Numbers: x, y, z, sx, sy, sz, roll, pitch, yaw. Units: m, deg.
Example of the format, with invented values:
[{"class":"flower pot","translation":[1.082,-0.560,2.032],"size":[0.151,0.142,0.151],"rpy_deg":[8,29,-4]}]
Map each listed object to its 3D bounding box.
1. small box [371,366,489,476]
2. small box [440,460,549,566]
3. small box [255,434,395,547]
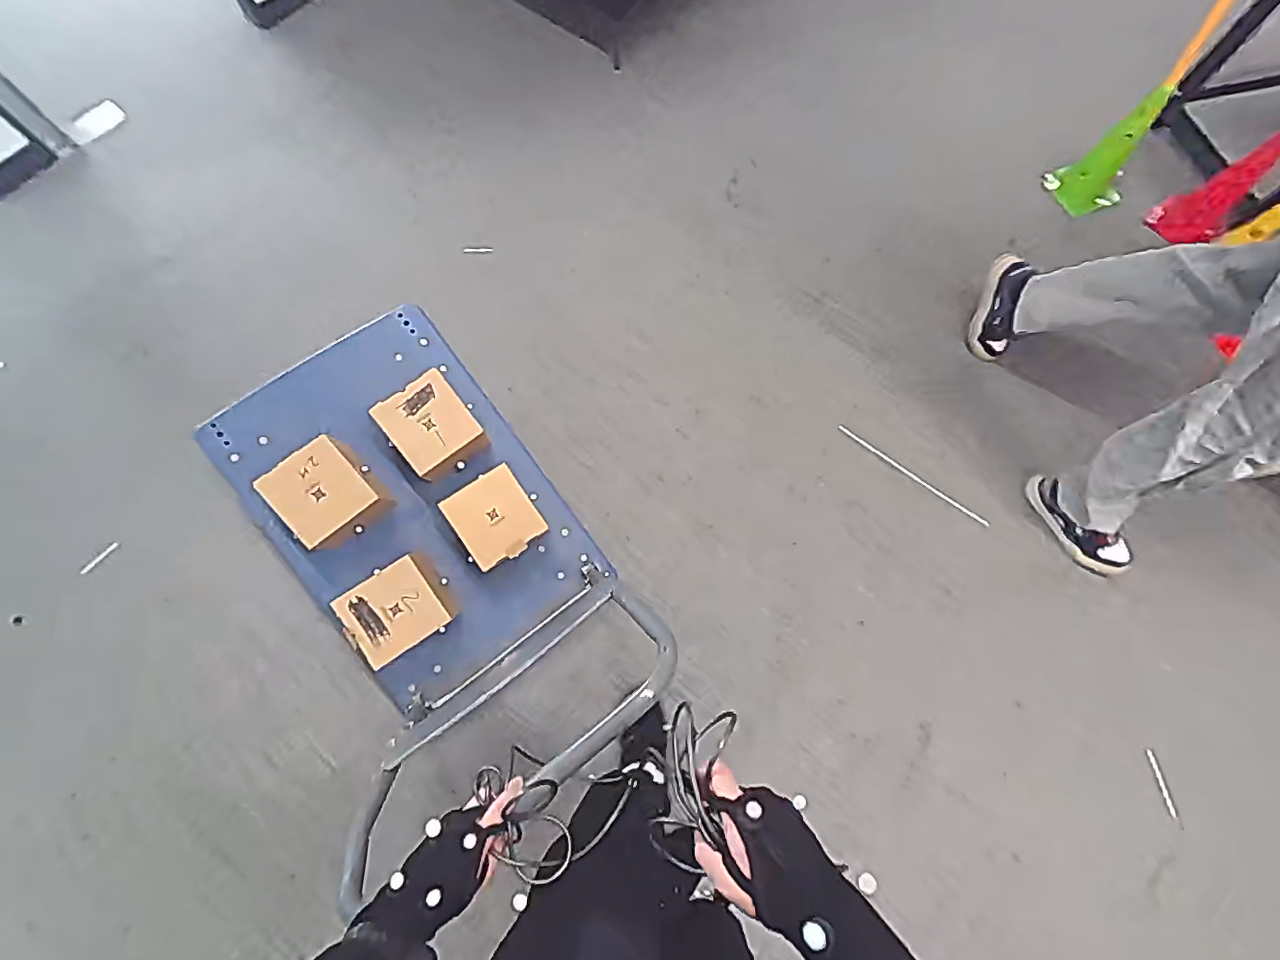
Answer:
[{"class":"small box","translation":[-0.462,-0.124,1.220],"size":[0.168,0.176,0.179],"rpy_deg":[-38,93,-10]},{"class":"small box","translation":[-0.323,0.078,1.227],"size":[0.168,0.176,0.179],"rpy_deg":[-34,92,-11]},{"class":"small box","translation":[-0.665,0.025,1.171],"size":[0.168,0.176,0.179],"rpy_deg":[-40,92,-12]}]
